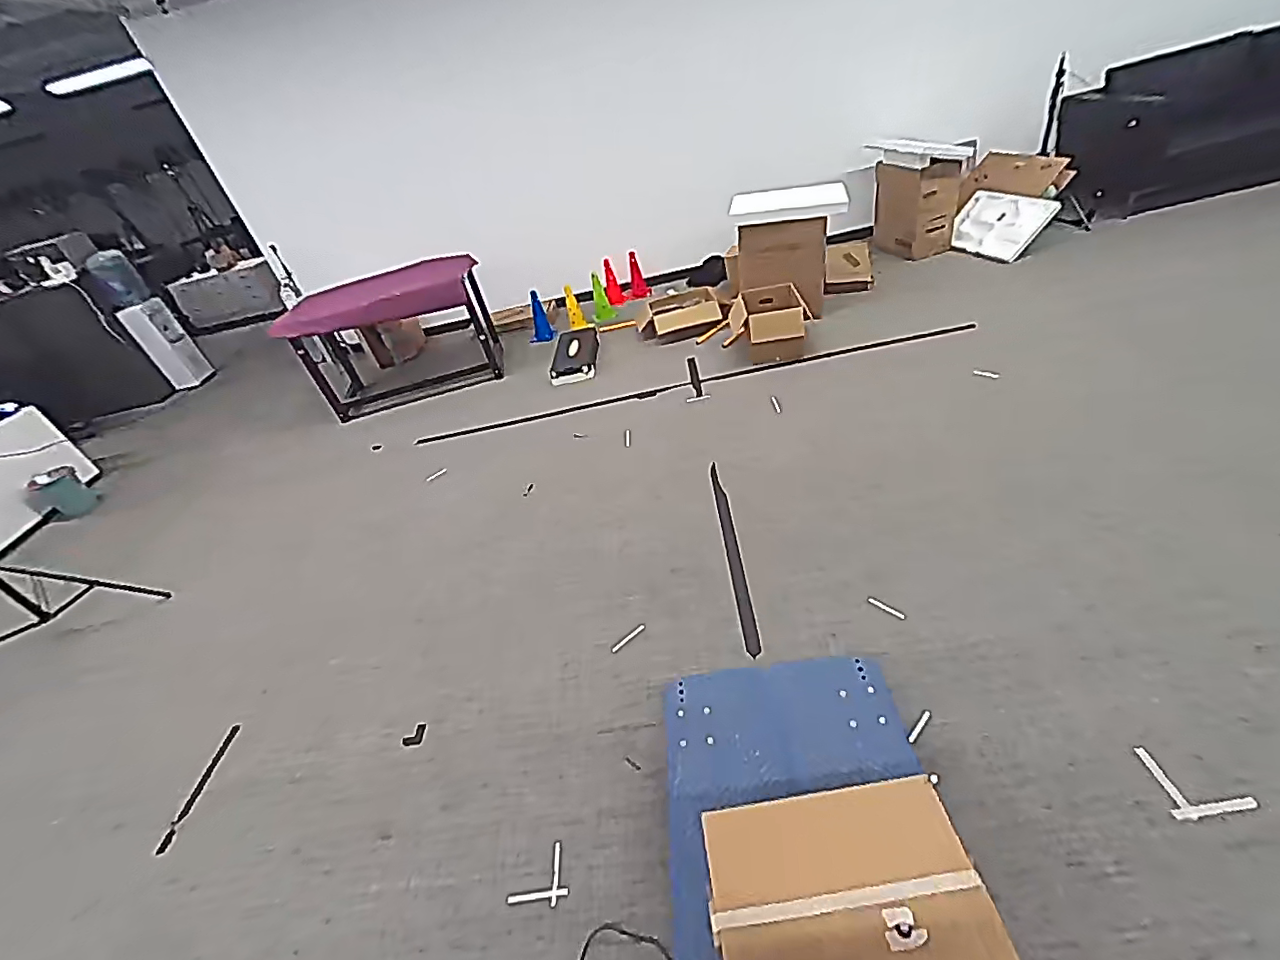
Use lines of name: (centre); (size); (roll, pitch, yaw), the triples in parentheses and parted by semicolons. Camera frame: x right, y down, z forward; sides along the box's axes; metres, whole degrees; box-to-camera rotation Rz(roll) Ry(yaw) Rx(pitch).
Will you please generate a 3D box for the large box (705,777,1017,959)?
large box: (0.348, 0.770, 0.922); (0.408, 0.320, 0.320); (-11, 37, 2)
